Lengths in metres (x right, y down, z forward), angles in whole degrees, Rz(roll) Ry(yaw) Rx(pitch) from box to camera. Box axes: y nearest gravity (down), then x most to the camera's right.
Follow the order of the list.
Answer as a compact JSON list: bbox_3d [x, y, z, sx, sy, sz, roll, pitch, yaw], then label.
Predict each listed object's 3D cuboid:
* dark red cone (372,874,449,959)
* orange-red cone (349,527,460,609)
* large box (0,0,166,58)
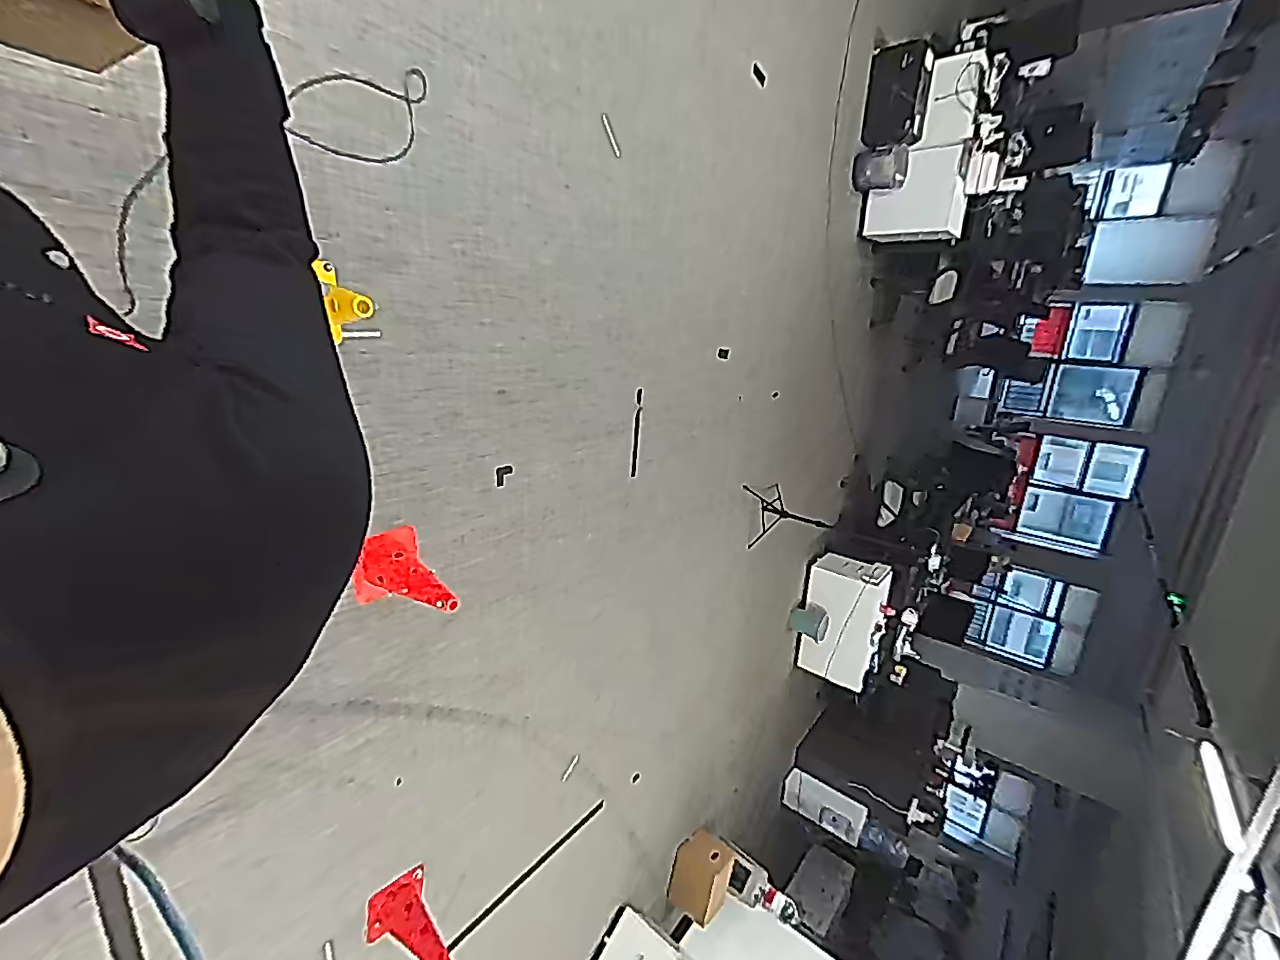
[{"bbox_3d":[-0.716,1.548,1.796,0.201,0.394,0.202,-7,108,-50],"label":"dark red cone"},{"bbox_3d":[-0.622,0.284,1.504,0.198,0.360,0.199,-20,117,-49],"label":"orange-red cone"},{"bbox_3d":[-0.546,-0.487,0.266,0.408,0.320,0.320,-12,120,-50],"label":"large box"}]
